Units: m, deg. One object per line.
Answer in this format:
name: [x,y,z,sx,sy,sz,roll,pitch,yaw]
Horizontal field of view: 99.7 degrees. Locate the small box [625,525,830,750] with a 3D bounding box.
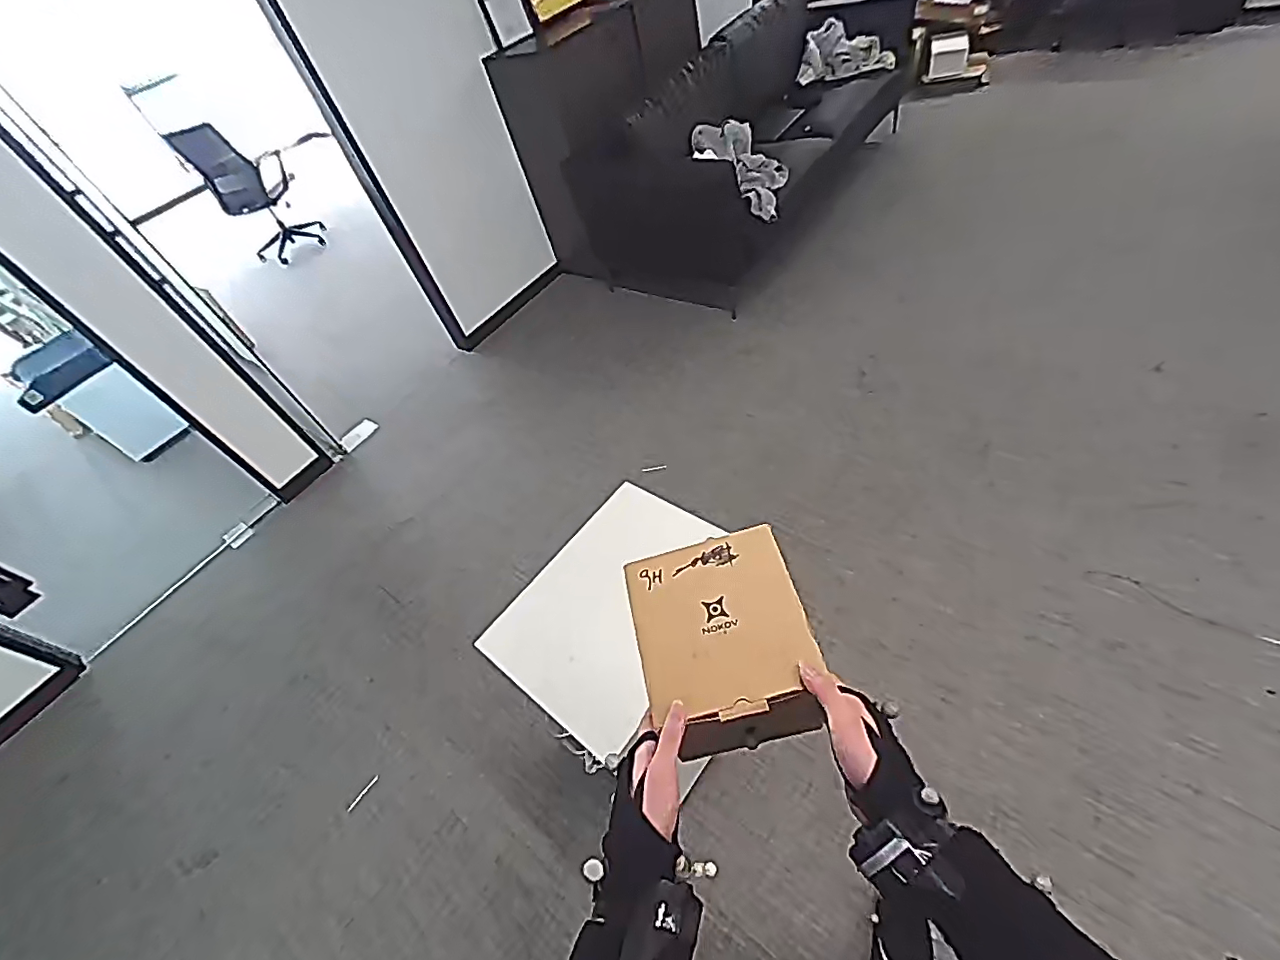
small box: [0.097,0.184,0.601,0.168,0.176,0.179,-18,51,3]
